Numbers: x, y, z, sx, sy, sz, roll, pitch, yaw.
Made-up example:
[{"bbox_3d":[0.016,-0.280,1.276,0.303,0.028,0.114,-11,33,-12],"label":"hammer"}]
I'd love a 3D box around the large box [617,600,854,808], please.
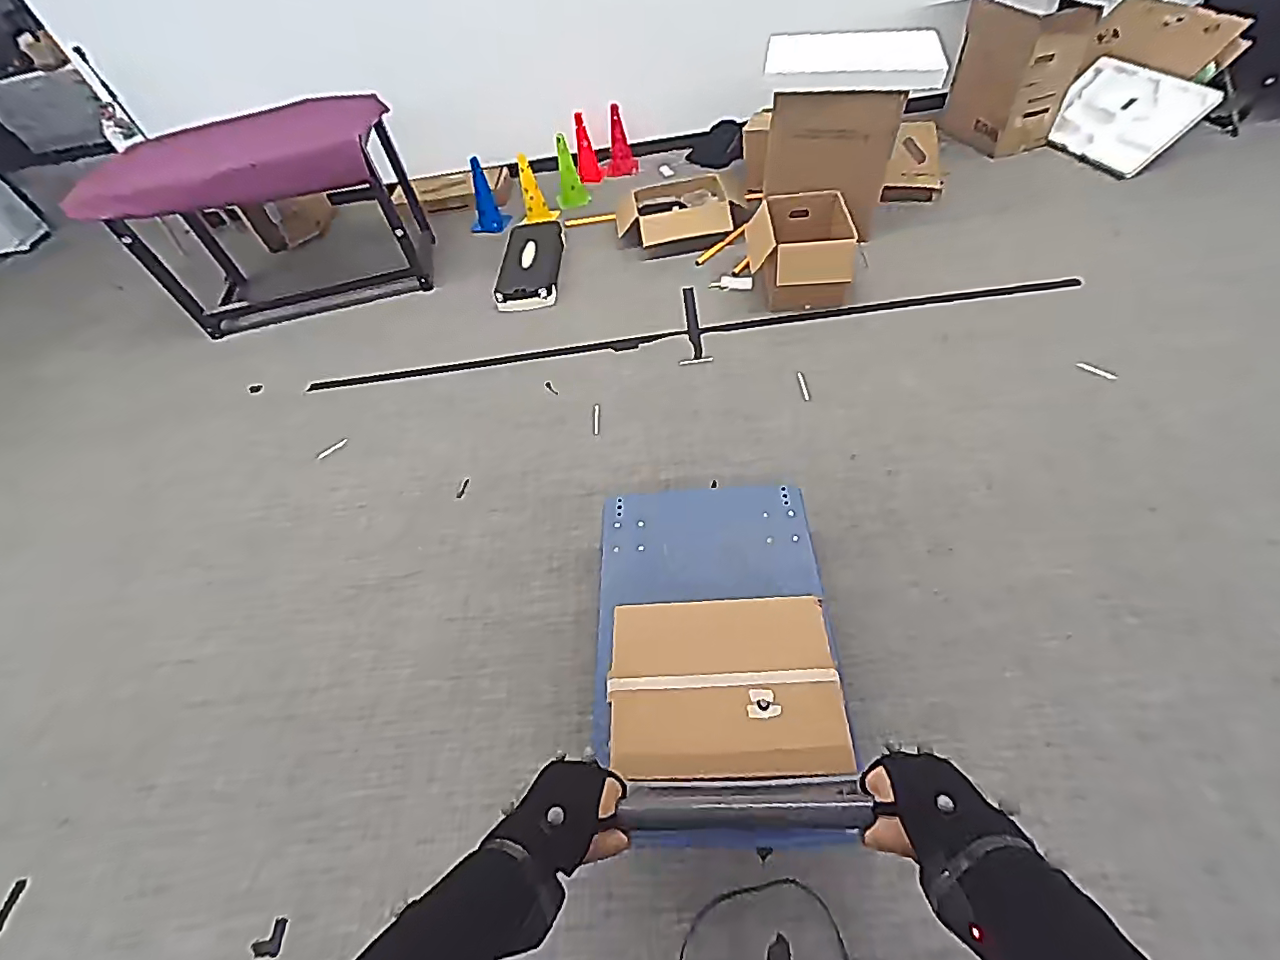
[{"bbox_3d":[0.168,0.465,1.107,0.408,0.320,0.320,-4,52,4],"label":"large box"}]
